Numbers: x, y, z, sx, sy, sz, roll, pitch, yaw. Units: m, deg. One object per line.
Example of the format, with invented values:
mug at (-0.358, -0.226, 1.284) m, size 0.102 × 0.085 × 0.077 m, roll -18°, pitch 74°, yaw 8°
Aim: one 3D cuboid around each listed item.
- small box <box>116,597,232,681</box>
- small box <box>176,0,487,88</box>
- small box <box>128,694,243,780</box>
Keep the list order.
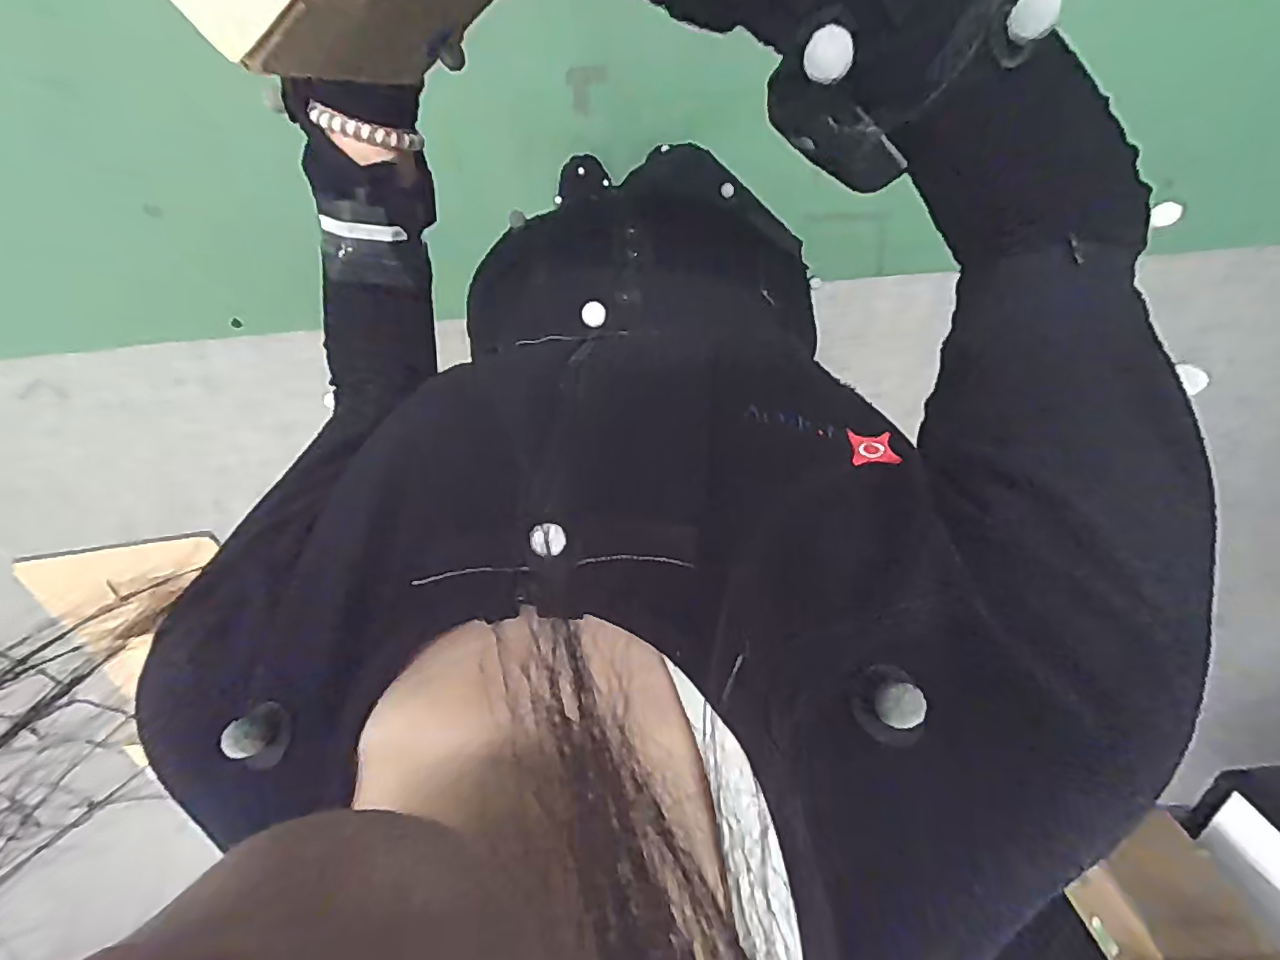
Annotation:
small box at (-1.422, 0.485, 1.664) m, size 0.179 × 0.176 × 0.168 m, roll -10°, pitch 119°, yaw 0°
small box at (-0.108, -0.267, 0.169) m, size 0.168 × 0.176 × 0.179 m, roll -32°, pitch 120°, yaw 19°
small box at (-1.370, 0.778, 1.643) m, size 0.179 × 0.176 × 0.168 m, roll -6°, pitch 121°, yaw -2°
